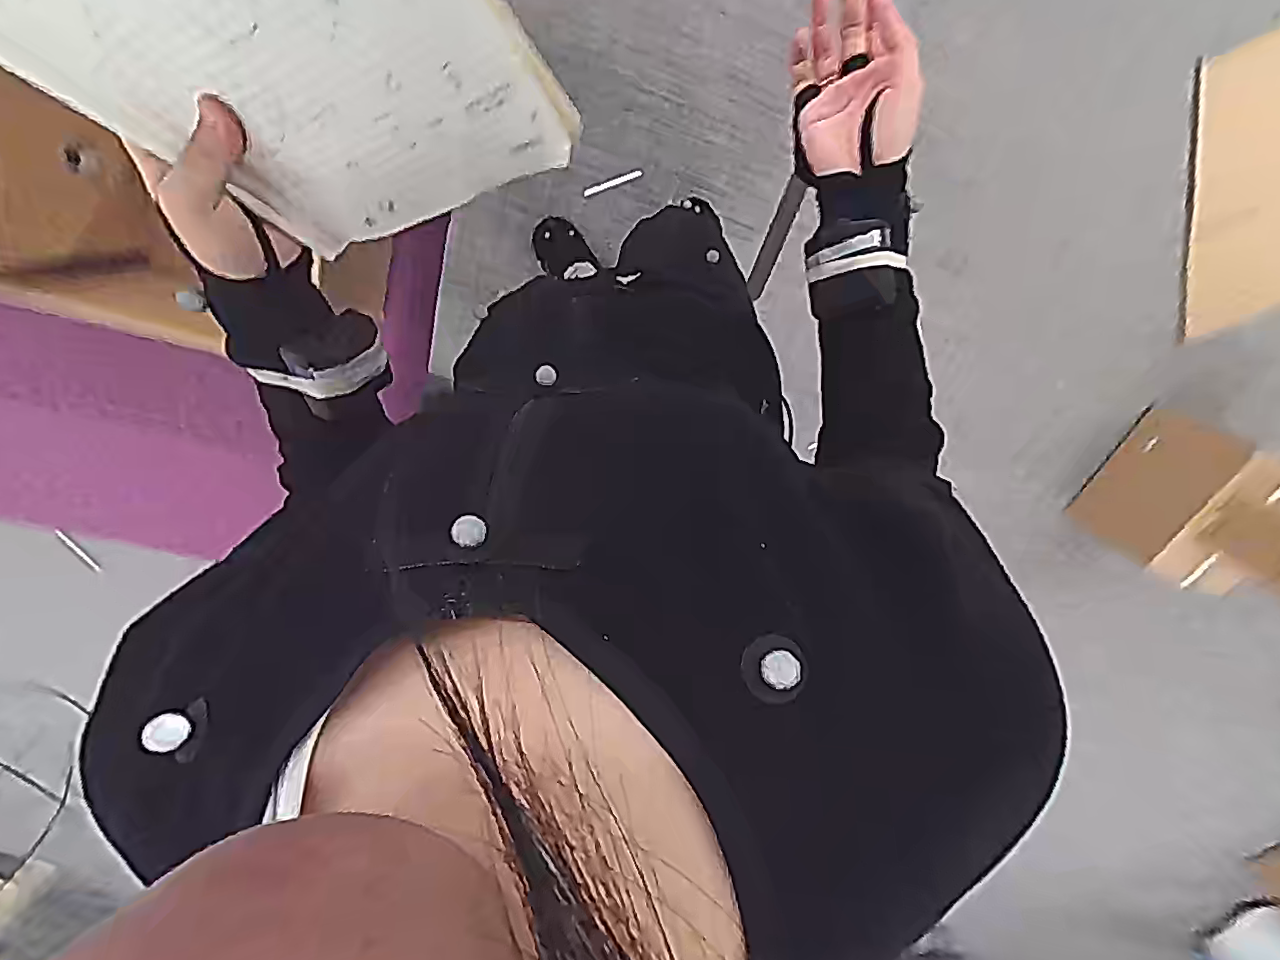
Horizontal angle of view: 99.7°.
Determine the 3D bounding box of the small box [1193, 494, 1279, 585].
[{"bbox_3d":[1.596,0.153,1.377,0.179,0.176,0.168,11,117,-11],"label":"small box"}]
